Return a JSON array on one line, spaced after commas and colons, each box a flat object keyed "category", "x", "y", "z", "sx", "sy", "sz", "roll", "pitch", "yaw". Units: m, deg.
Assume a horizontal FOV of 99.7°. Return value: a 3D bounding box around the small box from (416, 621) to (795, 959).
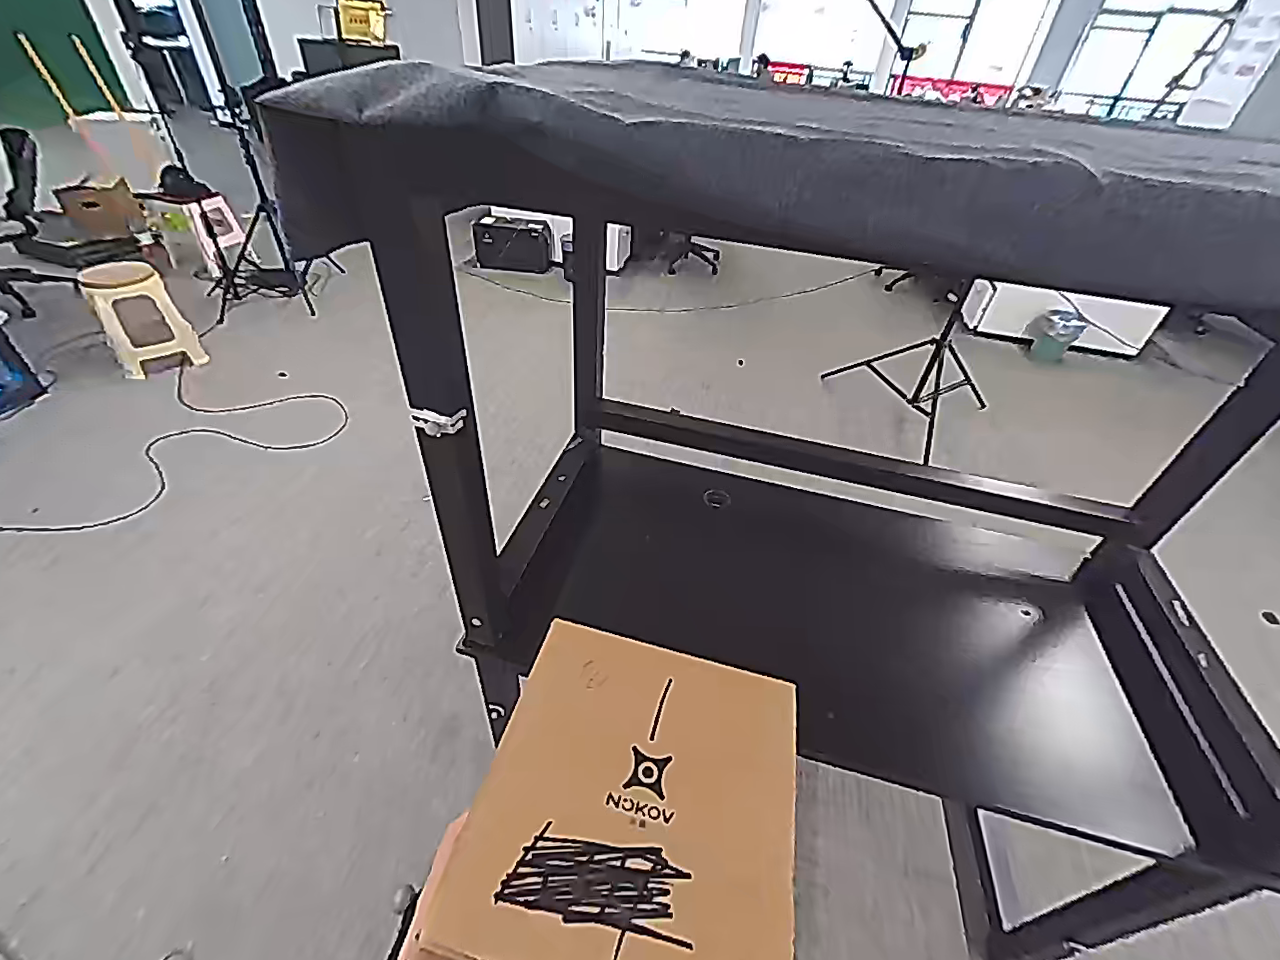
[{"category": "small box", "x": -0.008, "y": 0.226, "z": 0.341, "sx": 0.168, "sy": 0.176, "sz": 0.179, "roll": 14, "pitch": 40, "yaw": 7}]
